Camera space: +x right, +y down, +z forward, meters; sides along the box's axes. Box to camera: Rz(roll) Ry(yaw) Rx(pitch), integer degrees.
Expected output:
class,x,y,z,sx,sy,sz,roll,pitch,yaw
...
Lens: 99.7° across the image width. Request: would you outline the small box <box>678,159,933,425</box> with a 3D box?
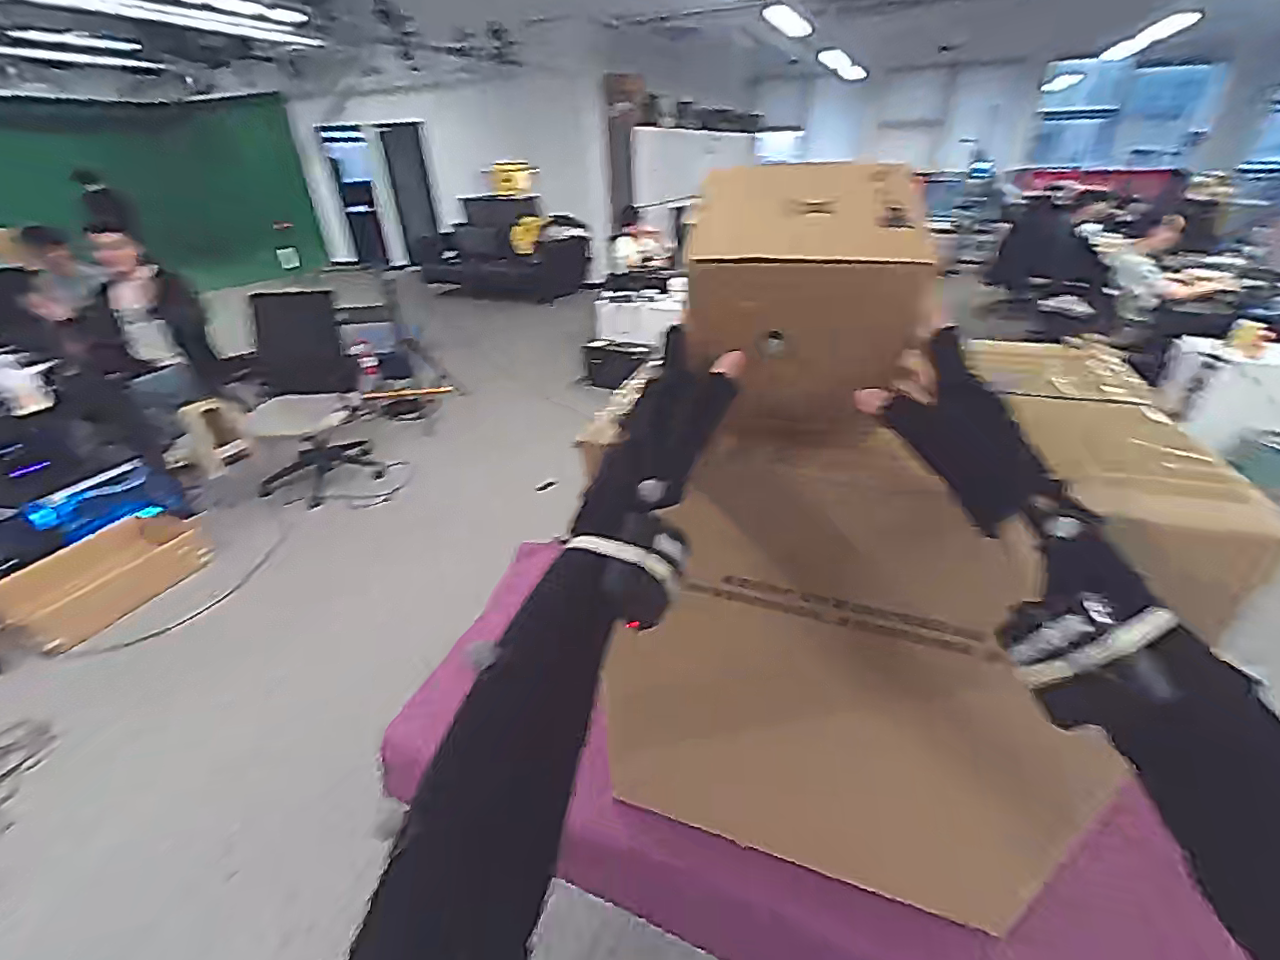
class,x,y,z,sx,sy,sz,roll,pitch,yaw
small box,0.134,-0.165,0.487,0.179,0.176,0.168,4,50,10
